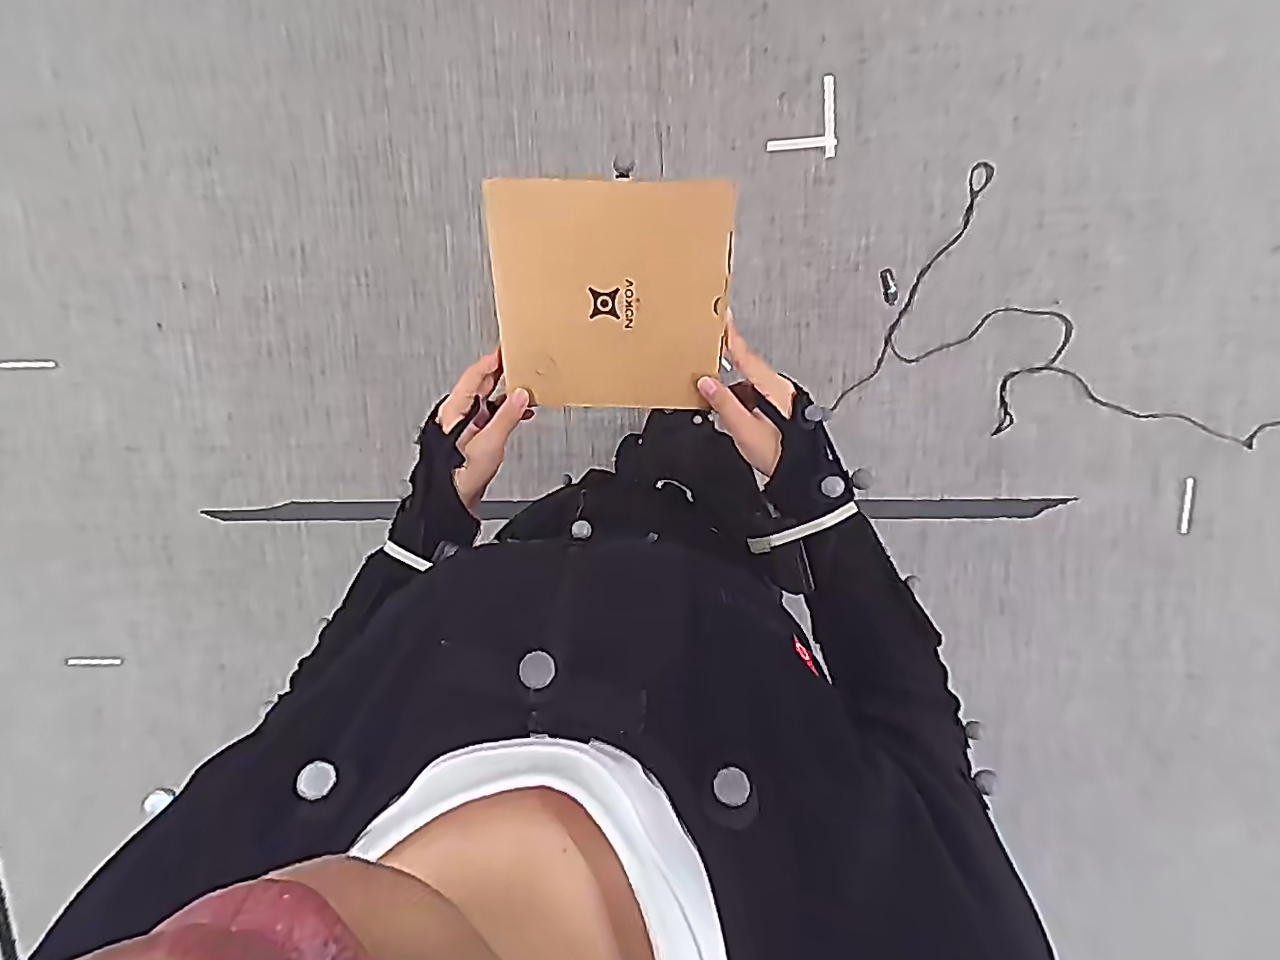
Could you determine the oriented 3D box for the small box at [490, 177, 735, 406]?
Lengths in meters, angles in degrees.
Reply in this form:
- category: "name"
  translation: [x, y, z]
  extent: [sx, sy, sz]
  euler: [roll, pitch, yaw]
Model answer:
- category: "small box"
  translation: [-0.019, -0.175, 0.487]
  extent: [0.179, 0.176, 0.168]
  euler: [1, 119, 1]
